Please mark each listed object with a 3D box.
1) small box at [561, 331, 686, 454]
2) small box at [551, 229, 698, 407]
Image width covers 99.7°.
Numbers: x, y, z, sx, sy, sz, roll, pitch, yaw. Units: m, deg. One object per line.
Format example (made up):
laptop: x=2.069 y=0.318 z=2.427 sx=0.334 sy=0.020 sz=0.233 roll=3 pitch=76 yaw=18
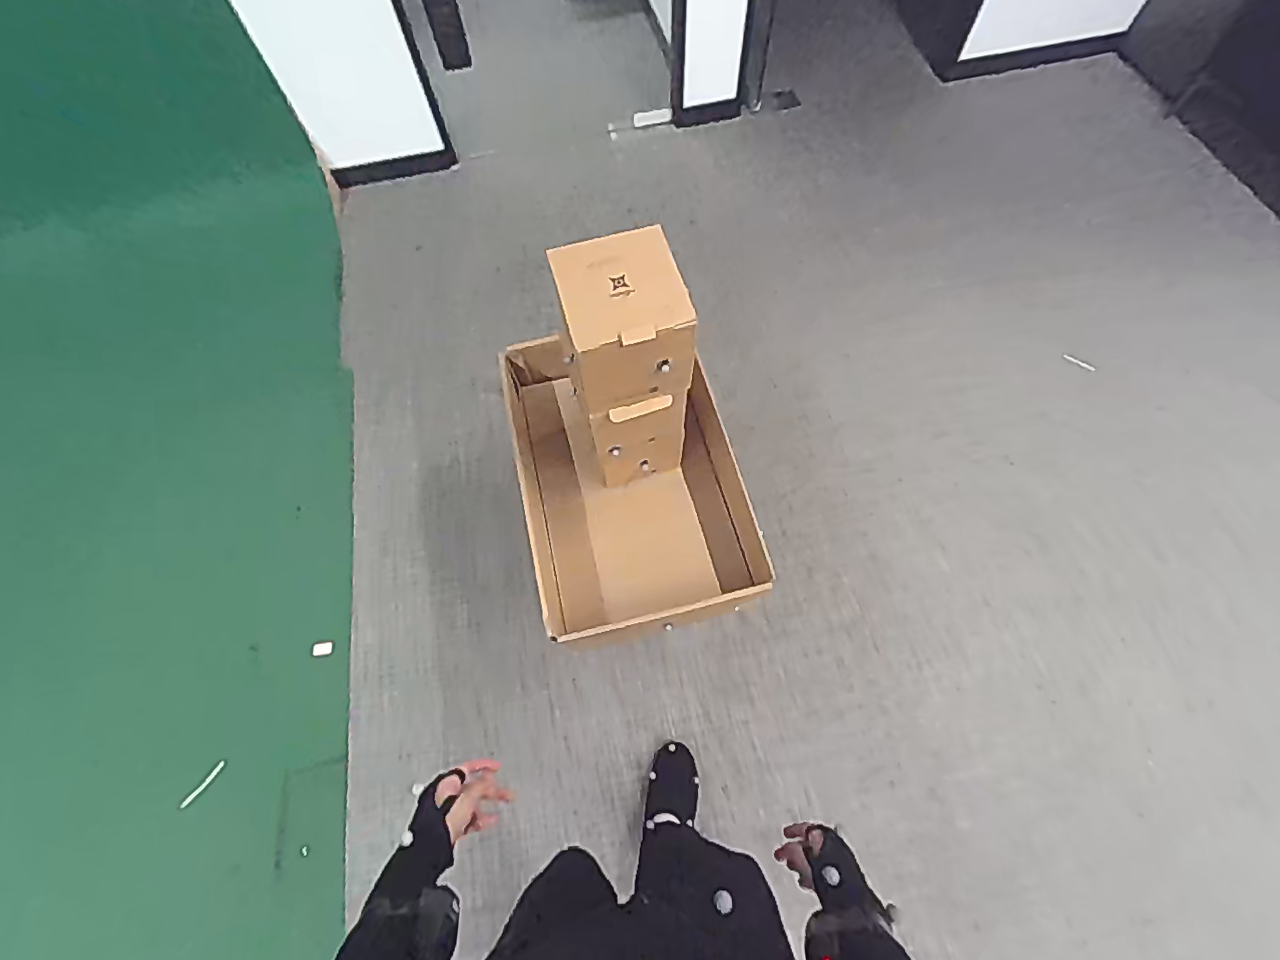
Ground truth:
small box: x=-0.026 y=-0.162 z=0.944 sx=0.168 sy=0.176 sz=0.179 roll=-18 pitch=68 yaw=-6
small box: x=-0.022 y=-0.225 z=0.793 sx=0.168 sy=0.176 sz=0.179 roll=-14 pitch=69 yaw=-6
